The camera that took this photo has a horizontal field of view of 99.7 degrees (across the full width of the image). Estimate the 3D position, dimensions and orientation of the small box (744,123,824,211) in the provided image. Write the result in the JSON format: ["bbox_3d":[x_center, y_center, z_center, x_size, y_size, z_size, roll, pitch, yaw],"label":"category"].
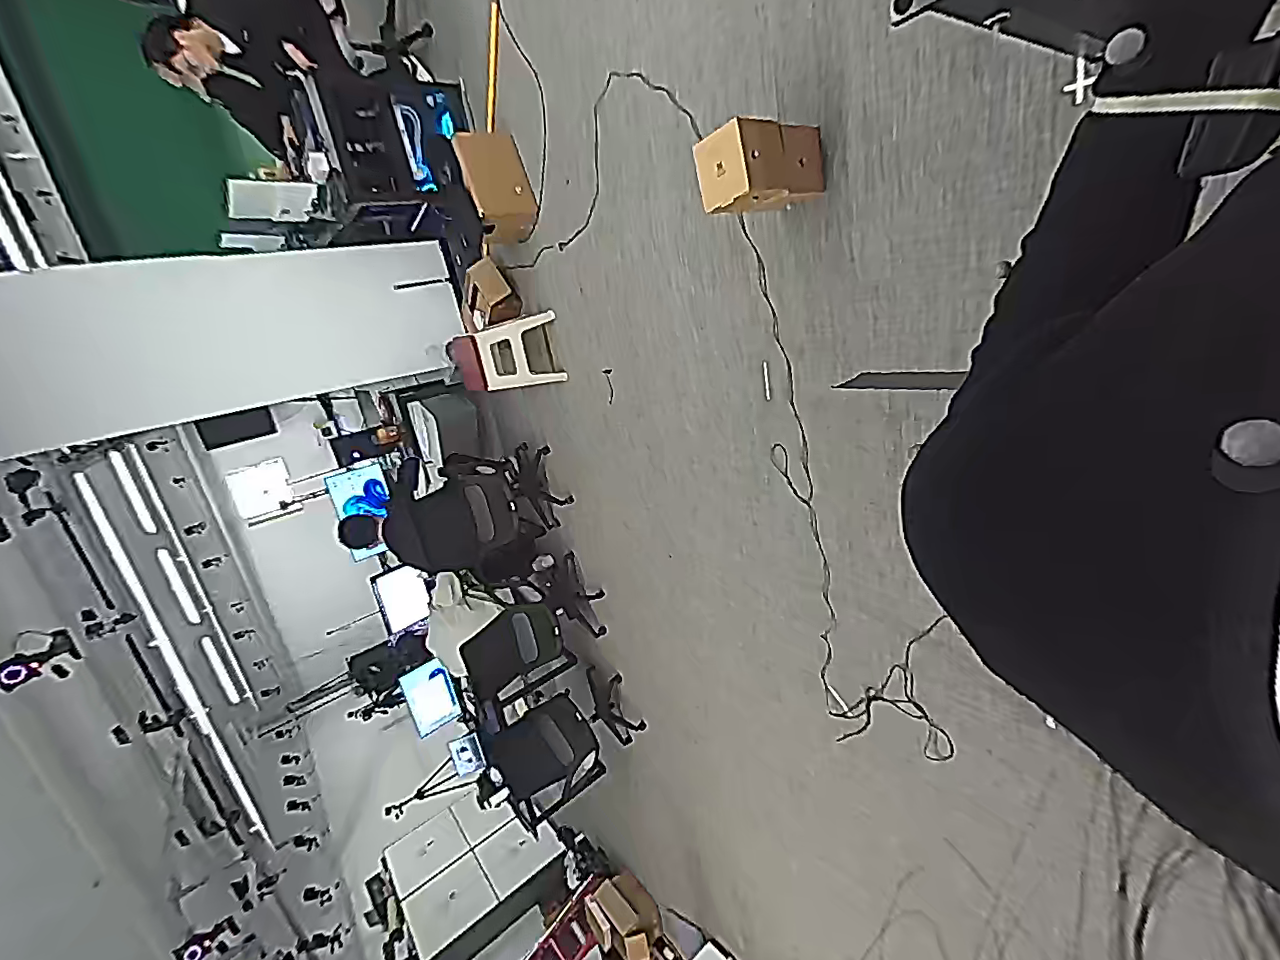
[{"bbox_3d":[0.401,-0.885,1.542,0.168,0.176,0.179,8,116,53],"label":"small box"}]

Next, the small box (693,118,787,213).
[{"bbox_3d":[0.273,-0.839,1.453,0.168,0.176,0.179,3,110,53],"label":"small box"}]
